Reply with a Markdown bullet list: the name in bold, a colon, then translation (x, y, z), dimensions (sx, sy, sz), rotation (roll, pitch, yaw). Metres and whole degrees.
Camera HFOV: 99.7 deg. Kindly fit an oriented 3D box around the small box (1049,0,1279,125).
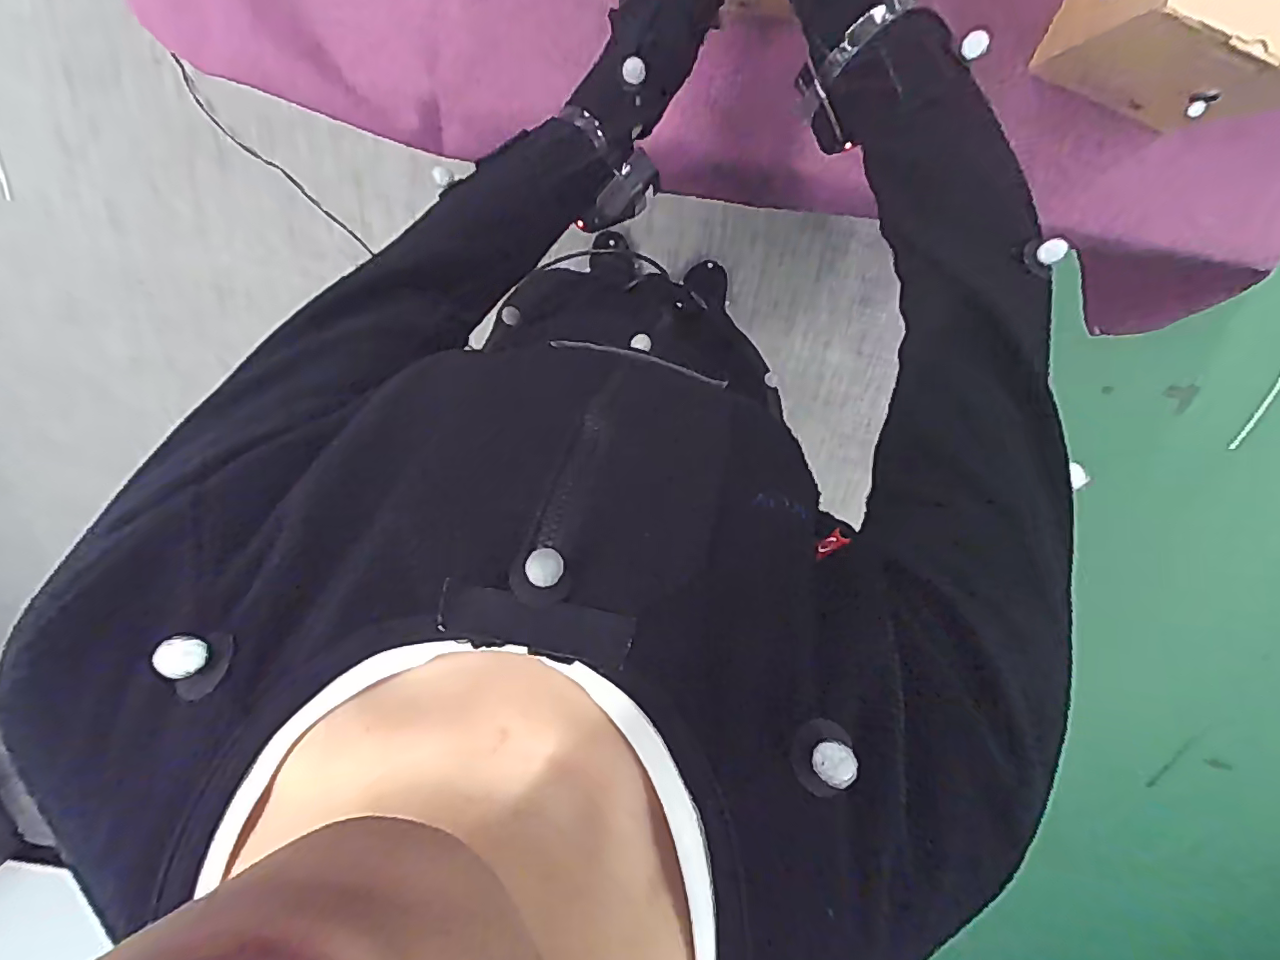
- **small box**: translation (0.484, -0.419, 0.434), dimensions (0.168, 0.176, 0.179), rotation (20, 114, -5)
